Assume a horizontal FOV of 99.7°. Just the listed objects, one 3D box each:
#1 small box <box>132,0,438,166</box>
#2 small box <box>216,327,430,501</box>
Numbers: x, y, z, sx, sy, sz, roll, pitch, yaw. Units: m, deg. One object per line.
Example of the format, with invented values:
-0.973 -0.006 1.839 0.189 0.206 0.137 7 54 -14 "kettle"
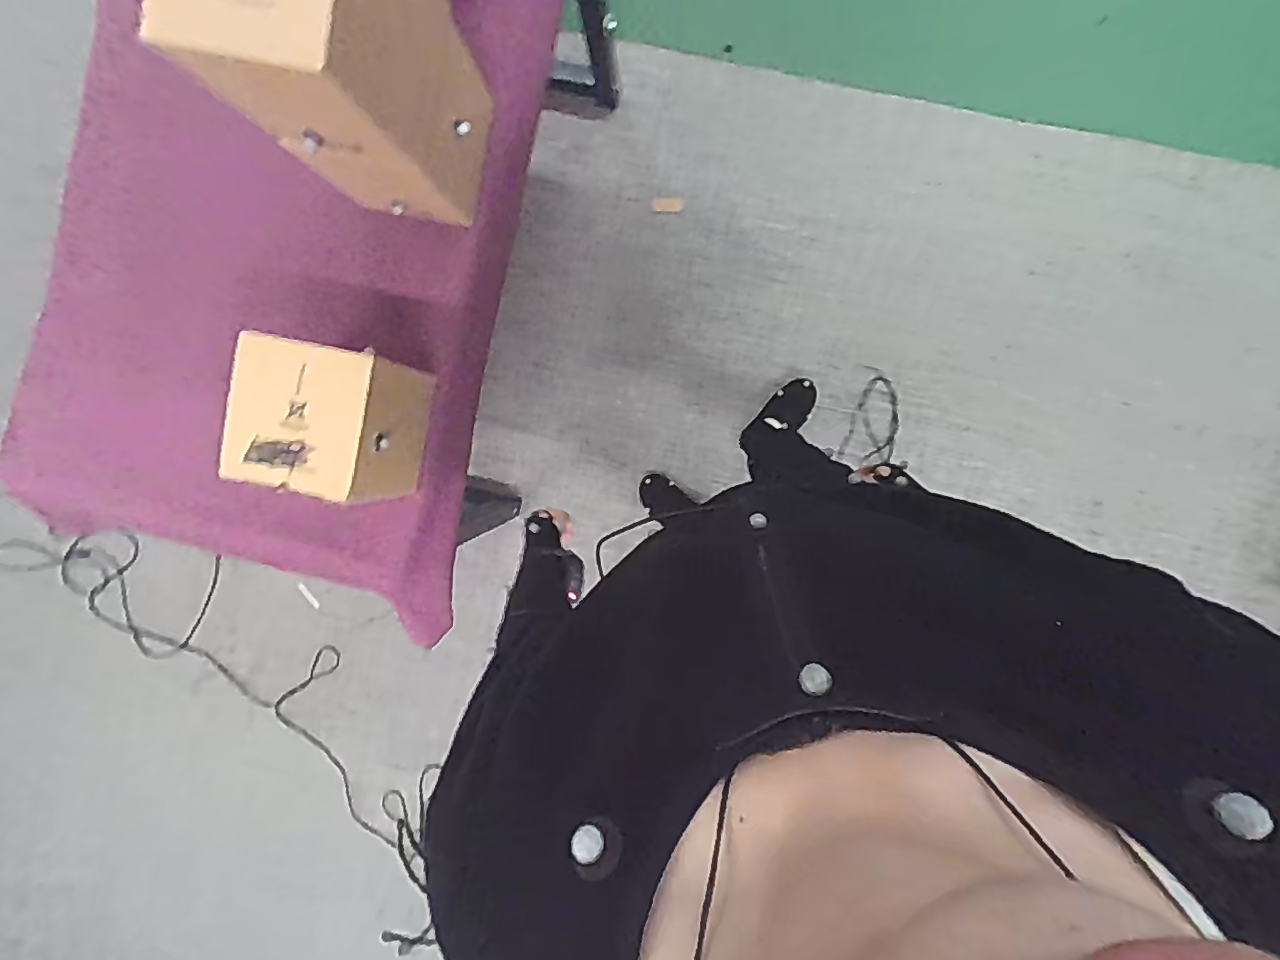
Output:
-0.314 -0.441 0.513 0.168 0.176 0.179 13 95 4 "small box"
-0.396 -0.080 0.704 0.168 0.176 0.179 12 93 4 "small box"
